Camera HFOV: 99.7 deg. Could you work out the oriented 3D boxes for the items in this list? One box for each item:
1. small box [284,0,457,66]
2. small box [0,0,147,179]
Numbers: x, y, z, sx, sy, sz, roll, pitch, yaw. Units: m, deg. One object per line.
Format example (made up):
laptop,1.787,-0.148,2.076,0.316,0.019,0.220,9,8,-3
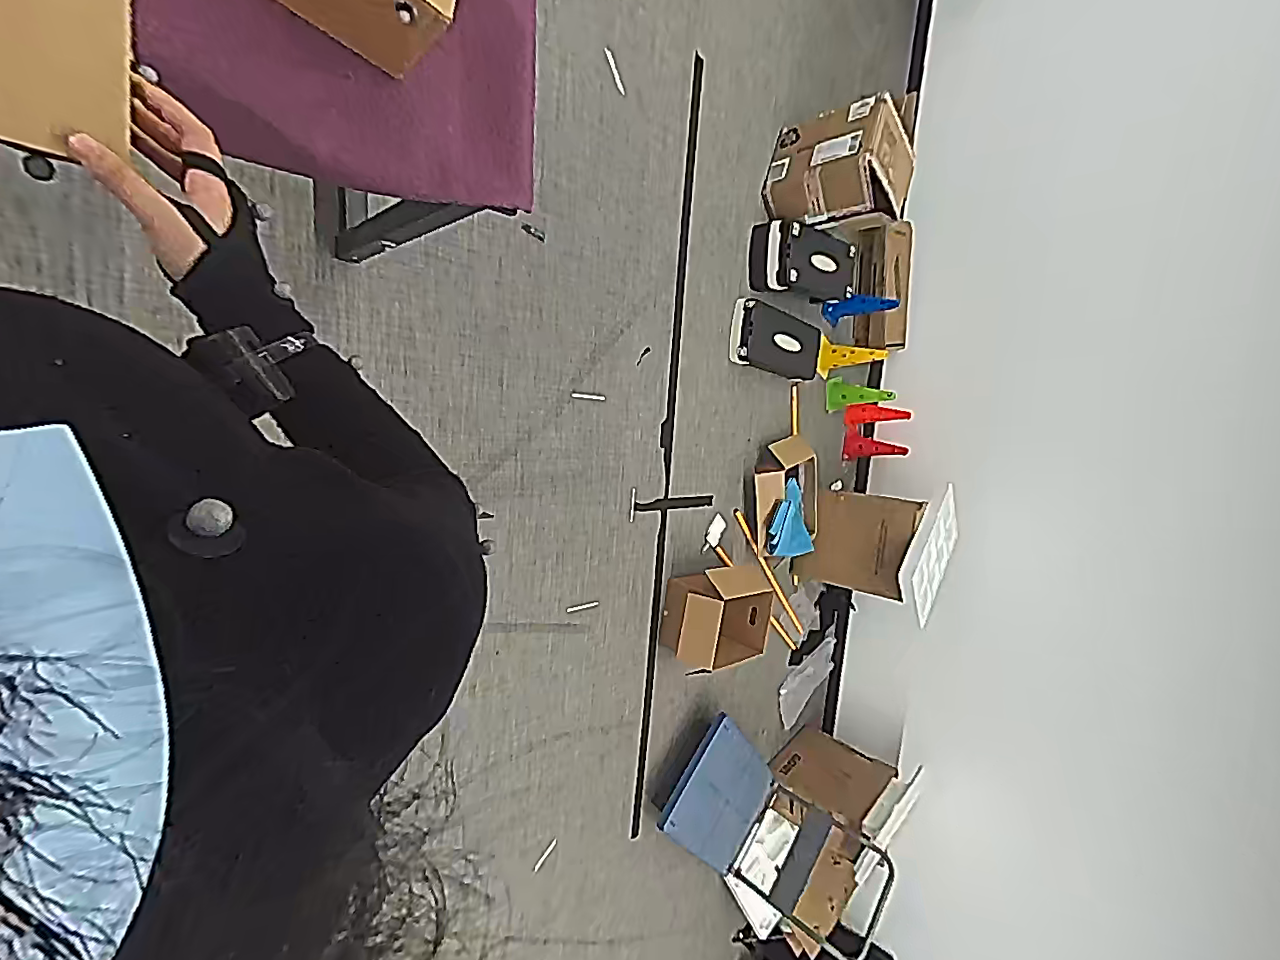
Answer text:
small box,-0.305,-0.606,0.588,0.179,0.176,0.168,10,91,-45
small box,-0.436,-0.313,0.344,0.179,0.176,0.168,0,112,-43
